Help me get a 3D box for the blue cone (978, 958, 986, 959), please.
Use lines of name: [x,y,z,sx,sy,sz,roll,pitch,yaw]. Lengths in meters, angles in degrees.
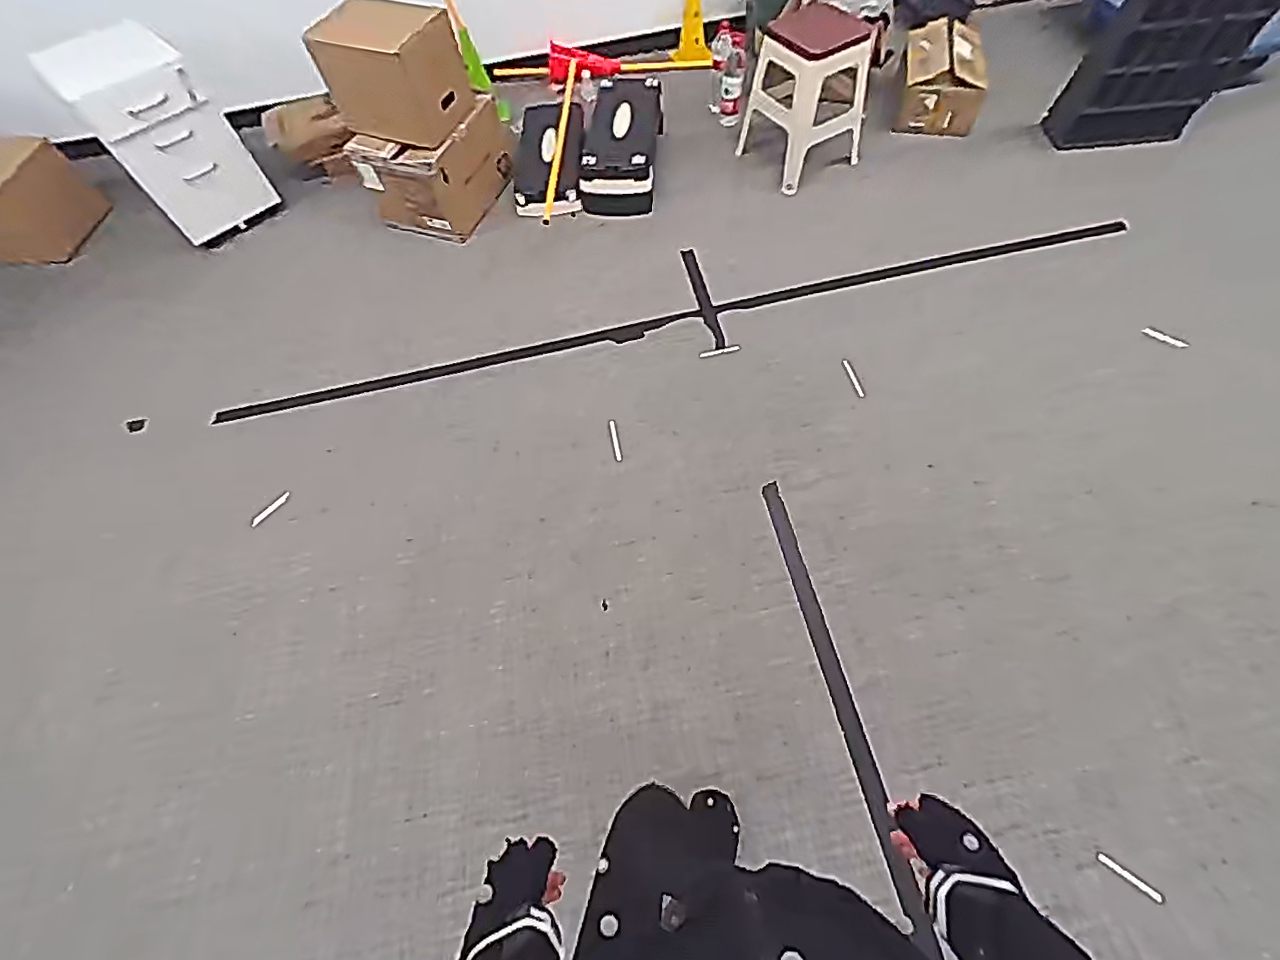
blue cone: [0.623,0.955,0.864,0.192,0.380,0.193,-14,62,-5]
